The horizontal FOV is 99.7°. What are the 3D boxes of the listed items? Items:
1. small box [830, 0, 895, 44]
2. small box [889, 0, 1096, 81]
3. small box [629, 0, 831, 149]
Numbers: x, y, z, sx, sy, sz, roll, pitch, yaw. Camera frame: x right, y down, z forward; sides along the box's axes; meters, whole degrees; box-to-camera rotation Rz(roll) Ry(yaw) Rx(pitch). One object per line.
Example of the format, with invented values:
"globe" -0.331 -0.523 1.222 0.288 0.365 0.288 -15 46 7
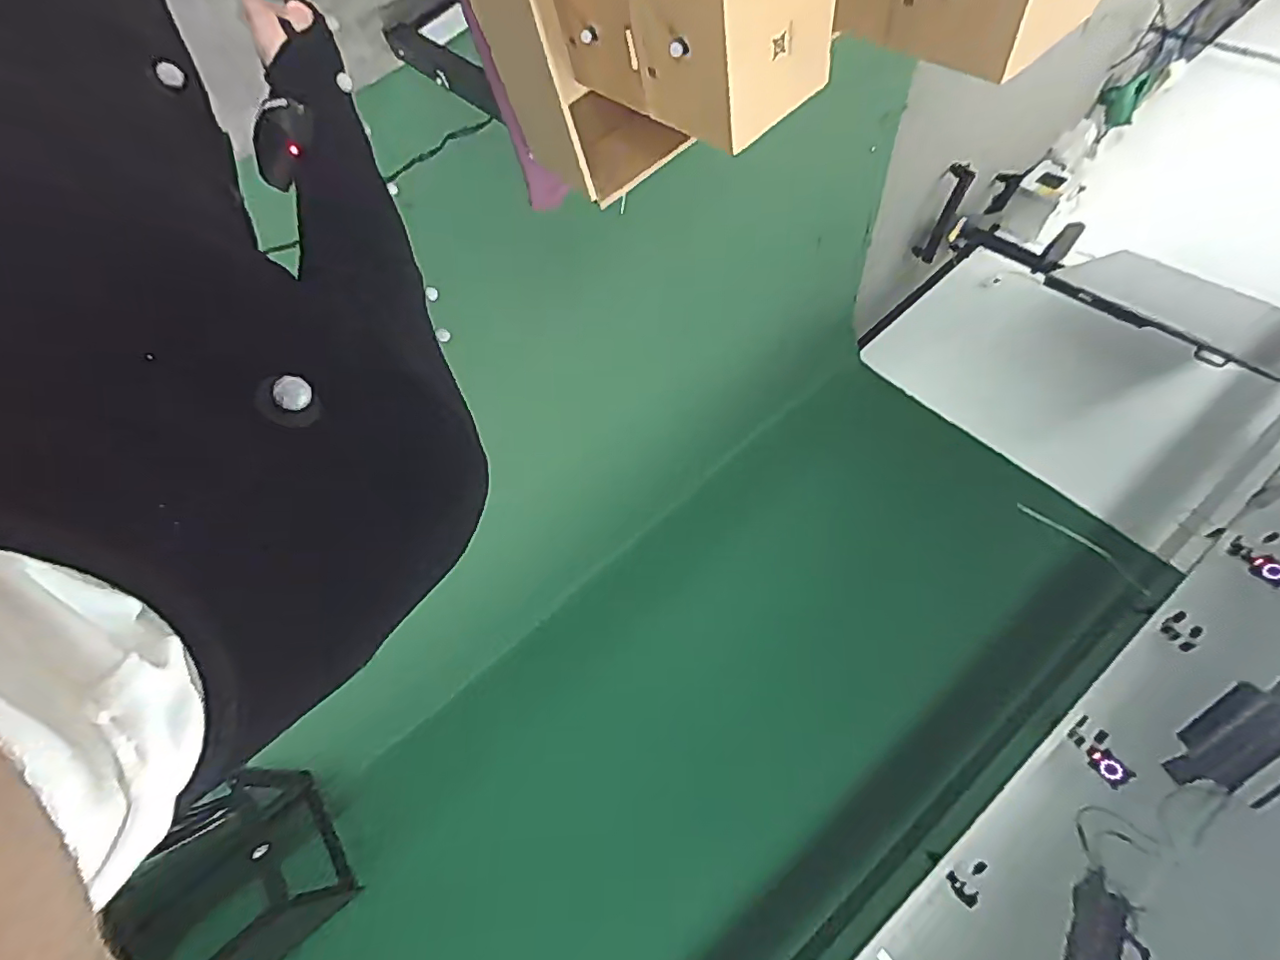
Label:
"small box" 0.322 -0.719 0.696 0.179 0.176 0.168 -39 152 -7
"small box" 0.421 -0.610 0.620 0.179 0.176 0.168 -39 153 -8
"small box" 0.104 -0.543 0.645 0.179 0.176 0.168 -42 152 -9
